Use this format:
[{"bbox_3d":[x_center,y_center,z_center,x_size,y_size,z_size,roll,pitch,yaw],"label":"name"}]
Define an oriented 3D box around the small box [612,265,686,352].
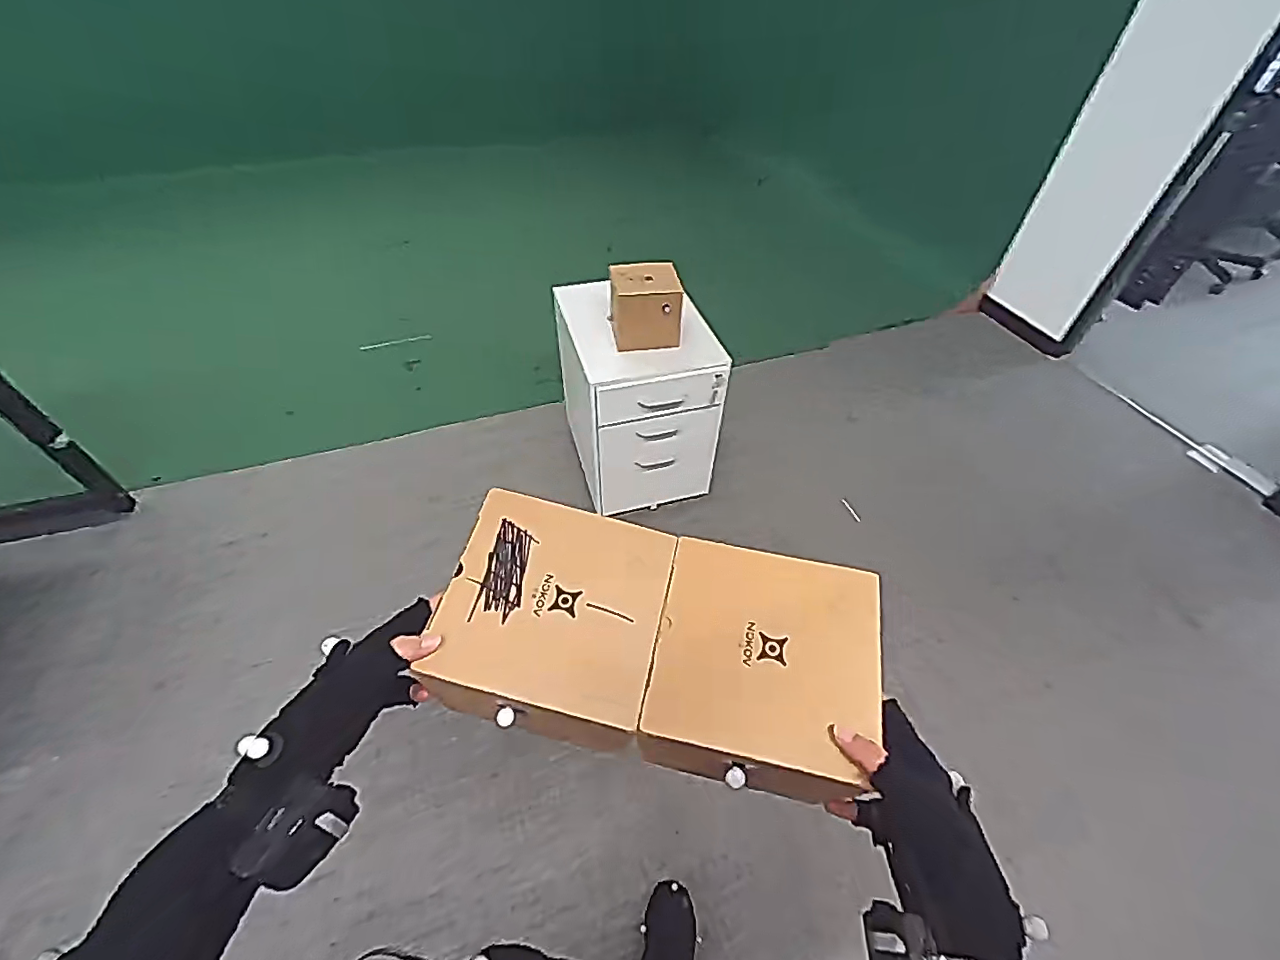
[{"bbox_3d":[0.018,-0.469,1.481,0.179,0.176,0.168,-6,48,-7],"label":"small box"}]
